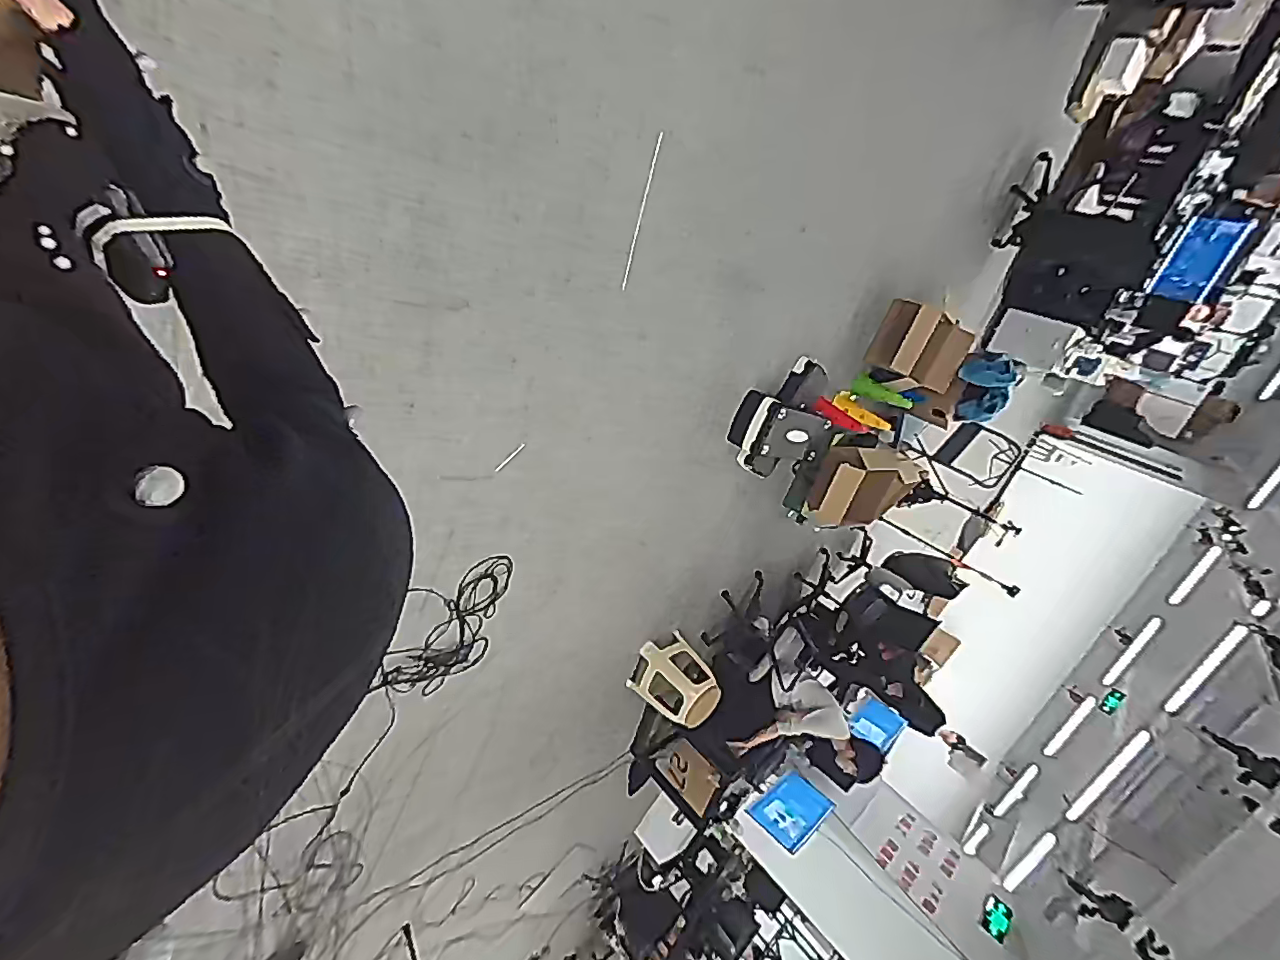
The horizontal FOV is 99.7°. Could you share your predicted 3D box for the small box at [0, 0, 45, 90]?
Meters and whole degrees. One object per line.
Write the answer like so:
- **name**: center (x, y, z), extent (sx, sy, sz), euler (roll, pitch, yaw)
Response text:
- **small box**: center (-0.464, -0.364, 0.296), extent (0.168, 0.176, 0.179), euler (-11, 106, -44)
